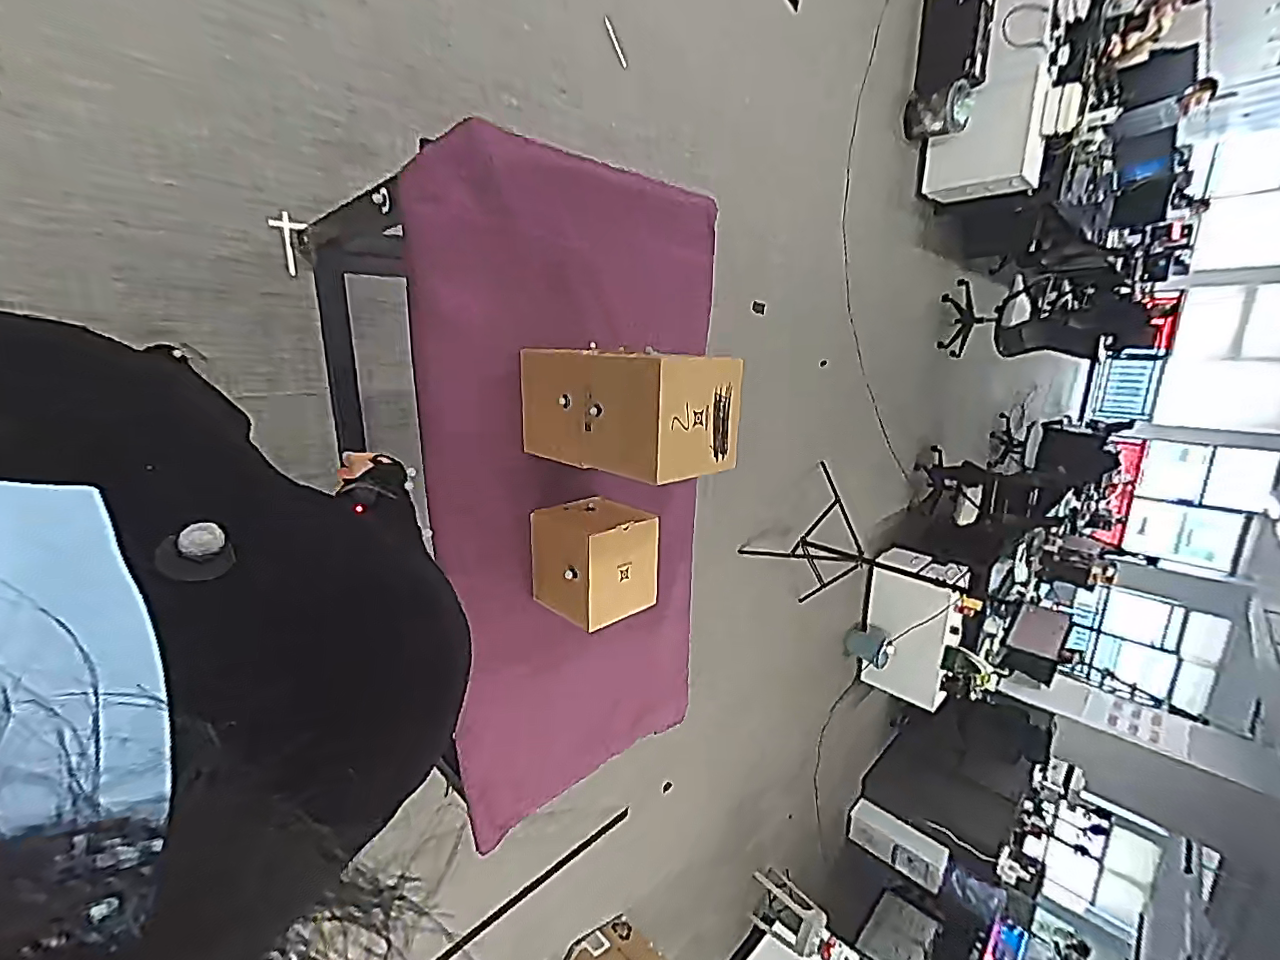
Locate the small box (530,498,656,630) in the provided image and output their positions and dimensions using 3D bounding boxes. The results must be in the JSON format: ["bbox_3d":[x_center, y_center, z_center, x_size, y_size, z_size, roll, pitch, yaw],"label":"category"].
[{"bbox_3d":[-0.090,0.145,0.997,0.168,0.176,0.179,-11,108,-44],"label":"small box"}]

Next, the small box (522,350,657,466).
[{"bbox_3d":[-0.089,-0.131,0.922,0.168,0.176,0.179,-12,110,-43],"label":"small box"}]
